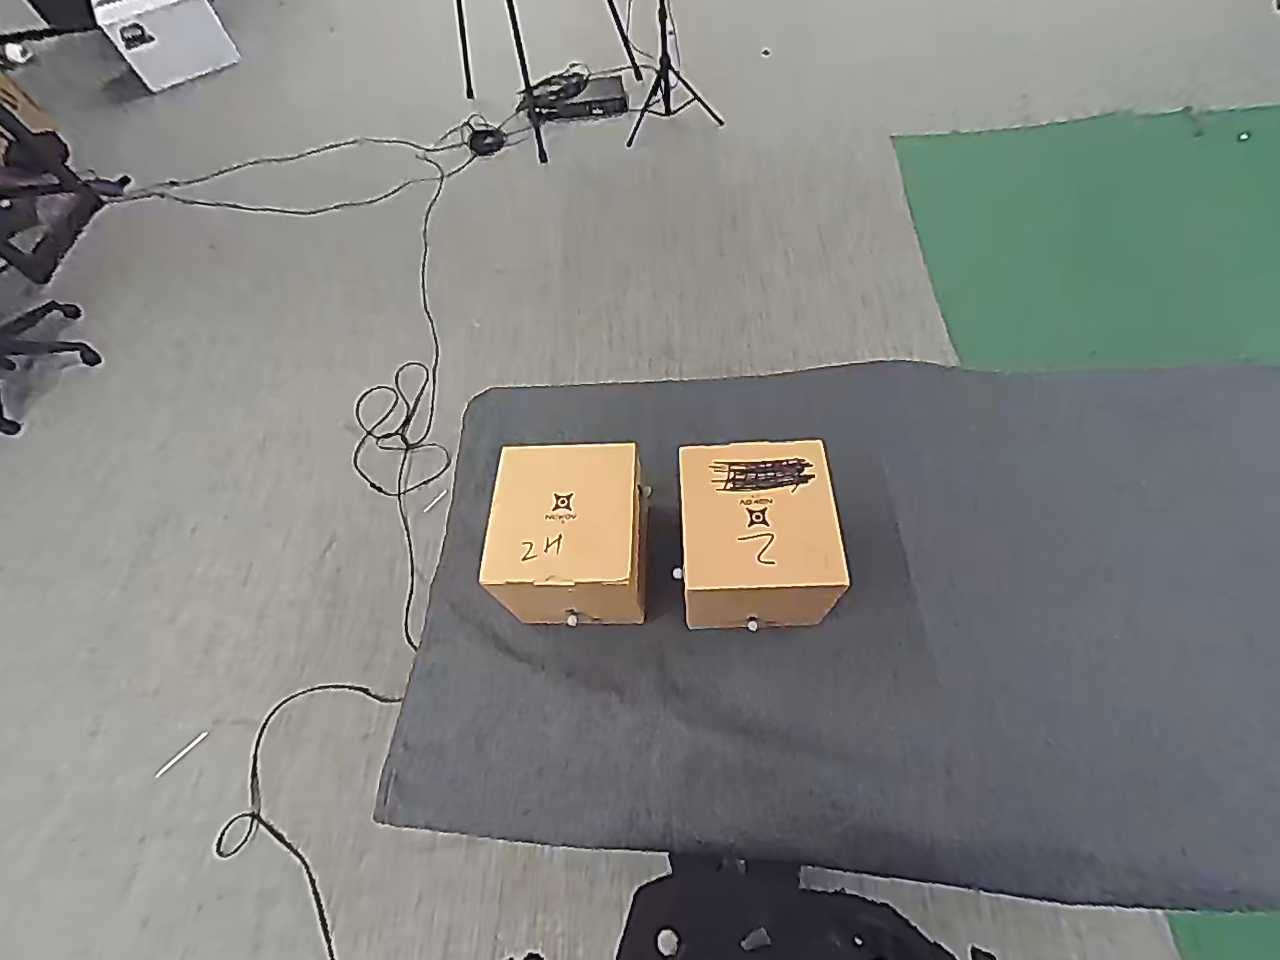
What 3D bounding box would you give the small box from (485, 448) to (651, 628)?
[{"bbox_3d":[-0.076,0.078,0.683,0.168,0.176,0.179,-2,61,6],"label":"small box"}]
